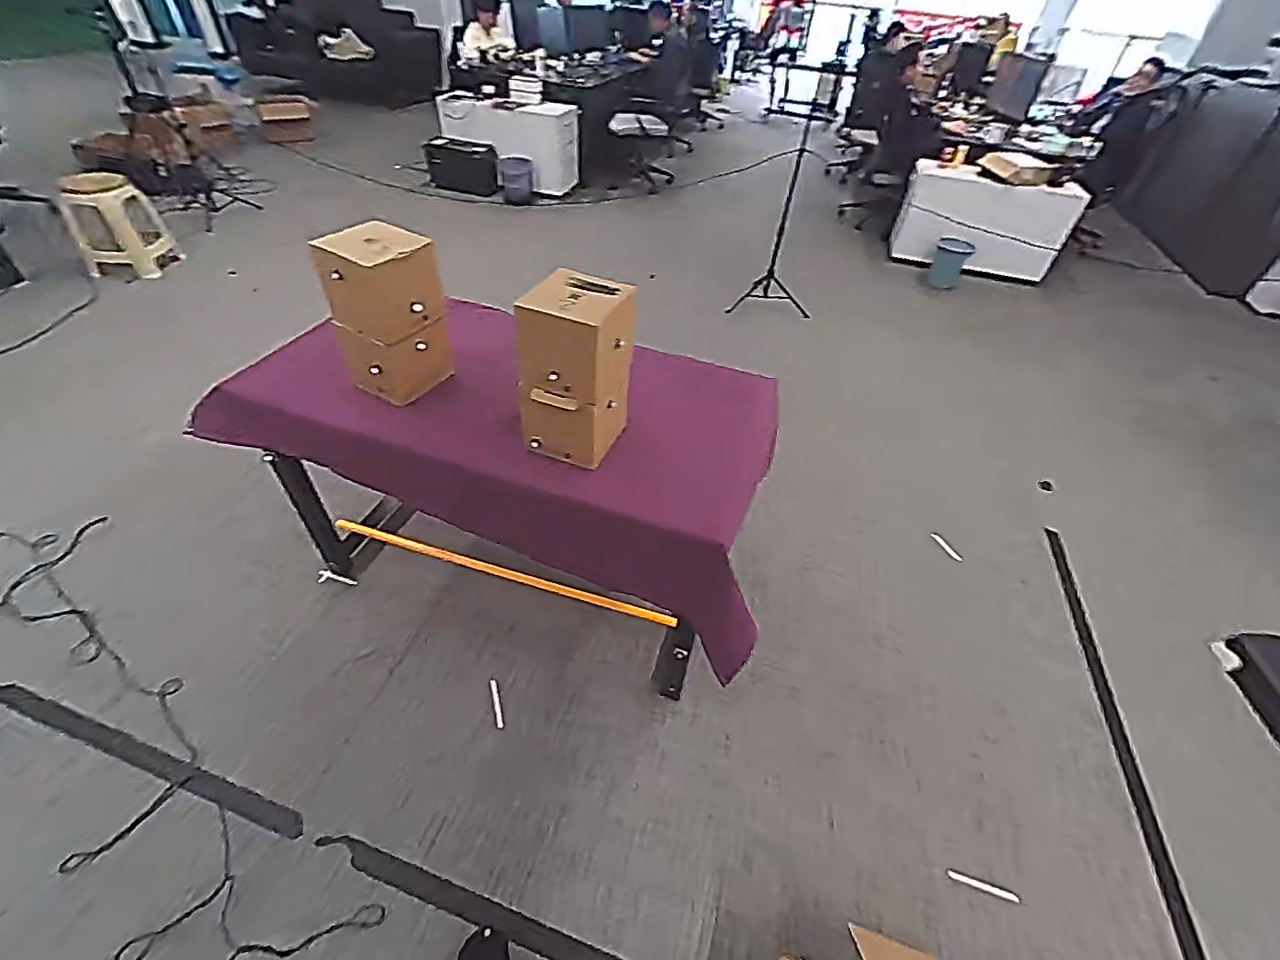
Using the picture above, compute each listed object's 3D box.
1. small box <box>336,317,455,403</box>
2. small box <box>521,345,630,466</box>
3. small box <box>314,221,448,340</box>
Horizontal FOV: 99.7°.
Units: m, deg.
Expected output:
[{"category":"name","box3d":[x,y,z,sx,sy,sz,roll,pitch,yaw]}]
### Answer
[{"category":"small box","box3d":[-0.556,-0.305,1.258,0.168,0.176,0.179,25,47,18]},{"category":"small box","box3d":[-0.130,-0.156,1.146,0.168,0.176,0.179,18,44,13]},{"category":"small box","box3d":[-0.538,-0.421,1.143,0.179,0.176,0.168,26,49,18]}]
